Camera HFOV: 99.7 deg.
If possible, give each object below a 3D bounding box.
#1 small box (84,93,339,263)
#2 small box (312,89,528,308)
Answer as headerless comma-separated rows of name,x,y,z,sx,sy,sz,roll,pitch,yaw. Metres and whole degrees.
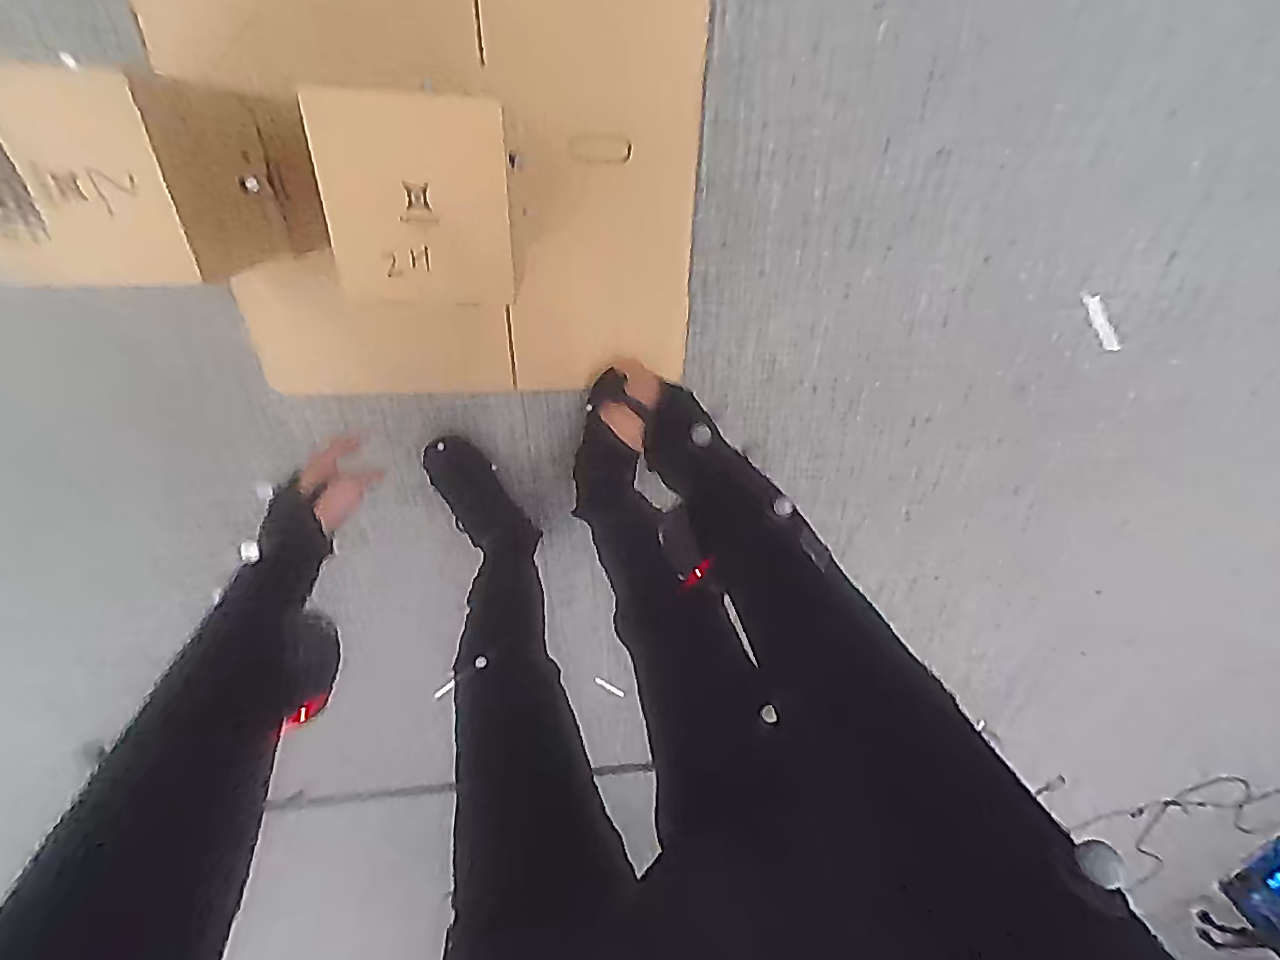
small box,-0.500,-0.375,0.675,0.179,0.176,0.168,-1,122,-5
small box,-0.208,-0.293,0.569,0.168,0.176,0.179,-1,122,-7
